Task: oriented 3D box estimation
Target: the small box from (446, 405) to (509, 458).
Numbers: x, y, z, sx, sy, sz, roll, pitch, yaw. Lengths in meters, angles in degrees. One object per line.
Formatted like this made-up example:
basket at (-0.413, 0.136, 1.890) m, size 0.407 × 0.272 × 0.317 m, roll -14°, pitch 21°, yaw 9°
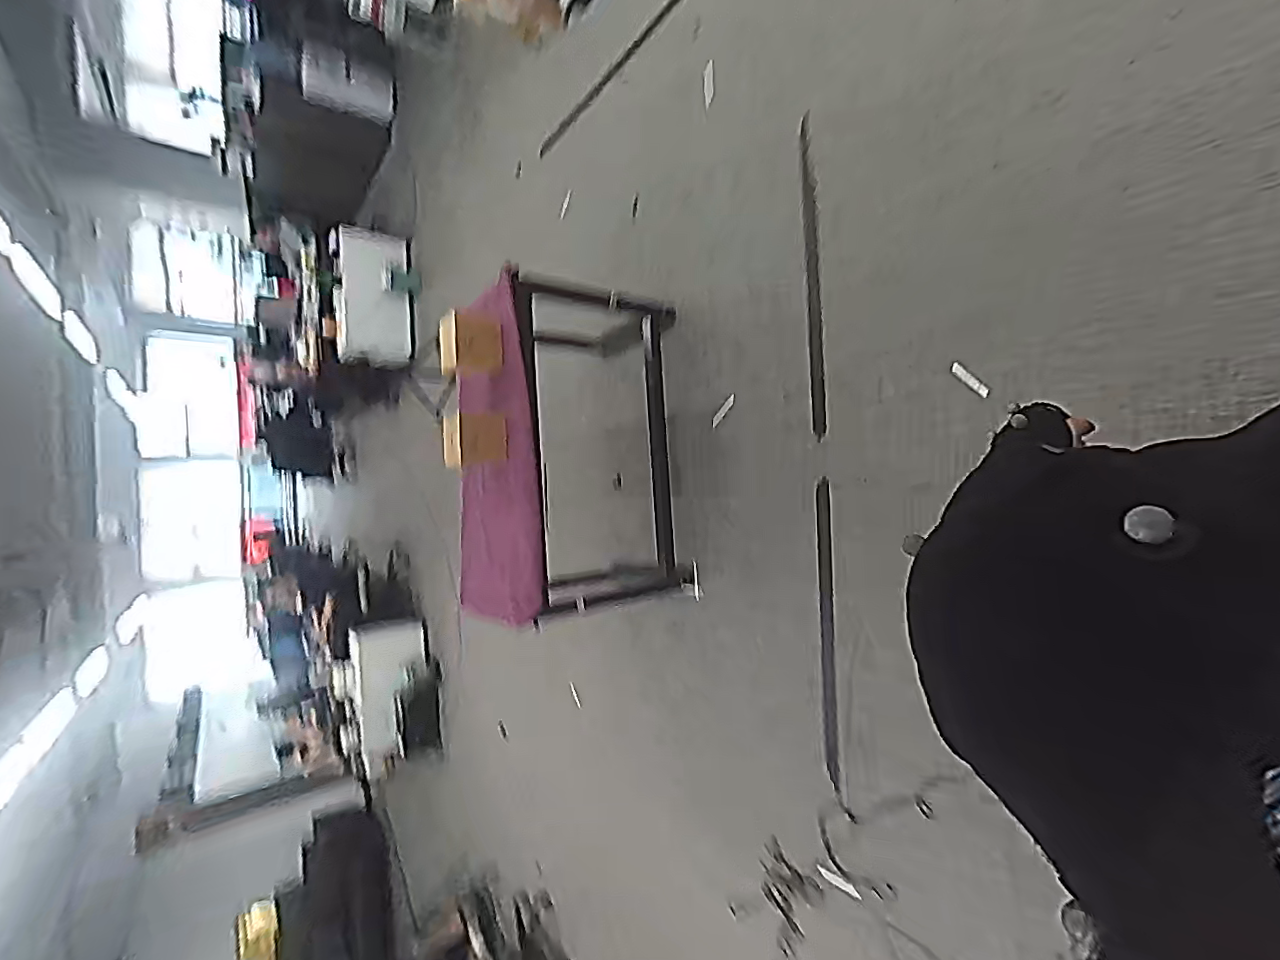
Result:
small box at (-0.571, -0.169, 1.906) m, size 0.168 × 0.176 × 0.179 m, roll 1°, pitch 92°, yaw 52°

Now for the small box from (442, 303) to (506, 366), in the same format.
small box at (-0.584, -0.505, 1.905) m, size 0.168 × 0.176 × 0.179 m, roll 1°, pitch 94°, yaw 53°
